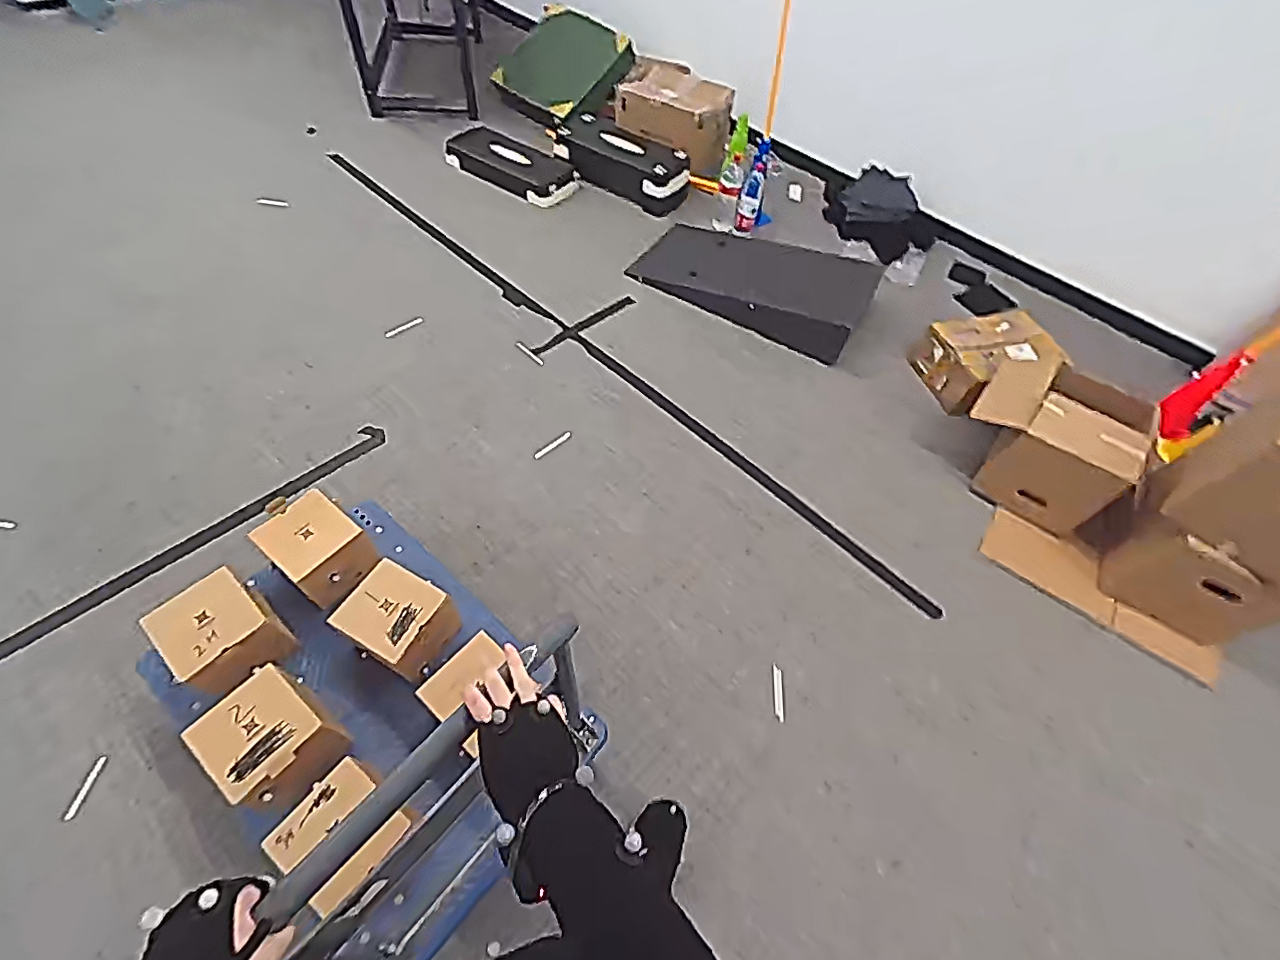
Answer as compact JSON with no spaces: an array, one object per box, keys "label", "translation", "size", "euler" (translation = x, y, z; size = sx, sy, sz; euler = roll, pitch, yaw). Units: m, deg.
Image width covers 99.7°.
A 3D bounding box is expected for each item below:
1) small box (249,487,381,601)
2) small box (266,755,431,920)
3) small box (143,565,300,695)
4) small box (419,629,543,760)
[{"label":"small box","translation":[-0.736,0.157,1.248],"size":[0.179,0.176,0.168],"euler":[34,59,16]},{"label":"small box","translation":[-0.500,0.624,0.958],"size":[0.179,0.176,0.168],"euler":[34,58,16]},{"label":"small box","translation":[-0.857,0.316,1.123],"size":[0.179,0.176,0.168],"euler":[39,60,17]},{"label":"small box","translation":[-0.313,0.444,1.105],"size":[0.179,0.176,0.168],"euler":[37,59,18]}]
